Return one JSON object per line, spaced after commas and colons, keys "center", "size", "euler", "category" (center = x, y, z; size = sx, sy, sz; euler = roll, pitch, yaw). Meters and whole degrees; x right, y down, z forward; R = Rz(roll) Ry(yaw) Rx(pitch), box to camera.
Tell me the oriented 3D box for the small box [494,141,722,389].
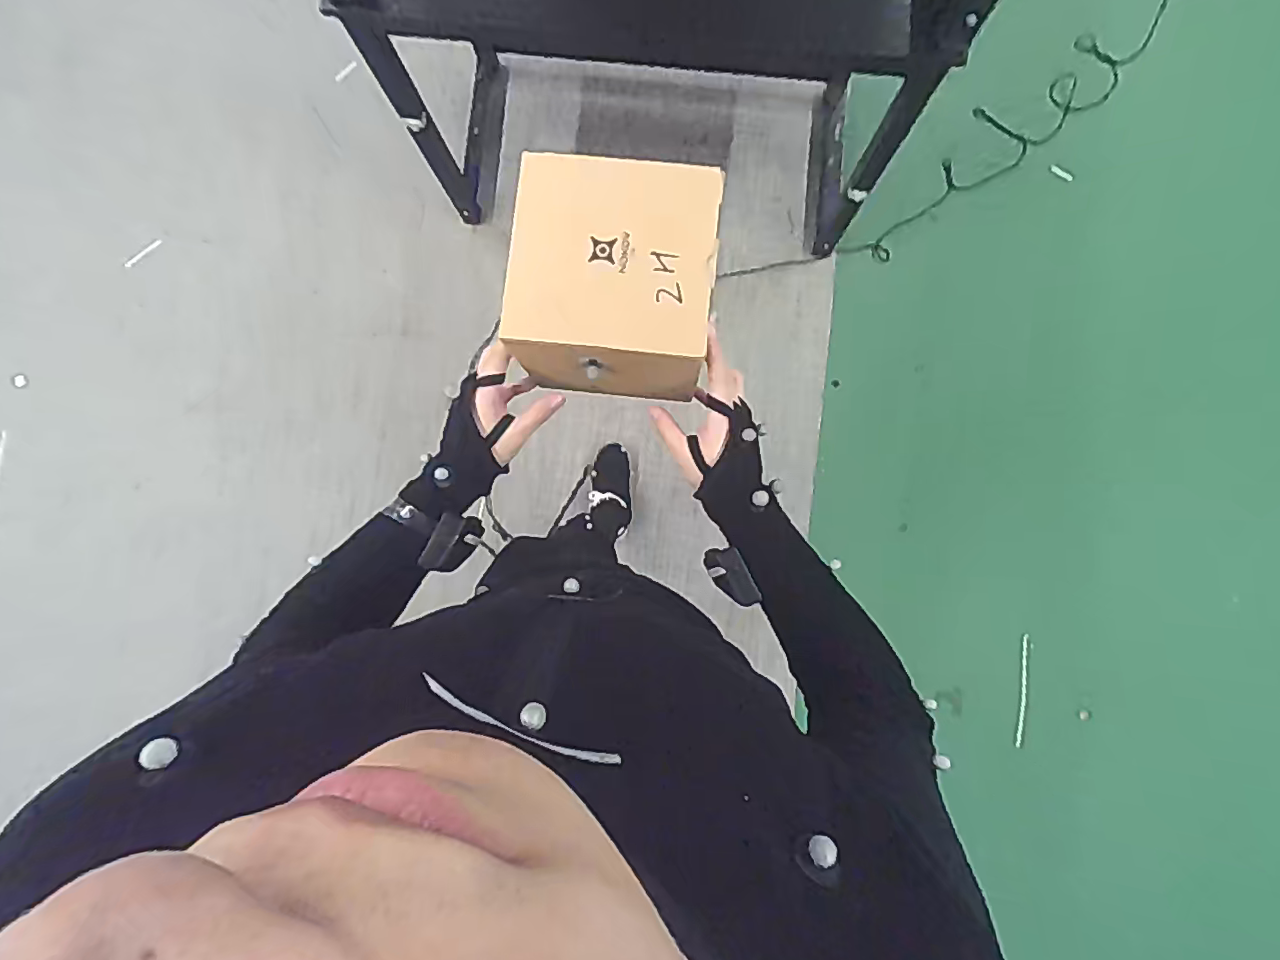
{"center": [-0.024, -0.192, 0.527], "size": [0.179, 0.176, 0.168], "euler": [6, 88, 2], "category": "small box"}
